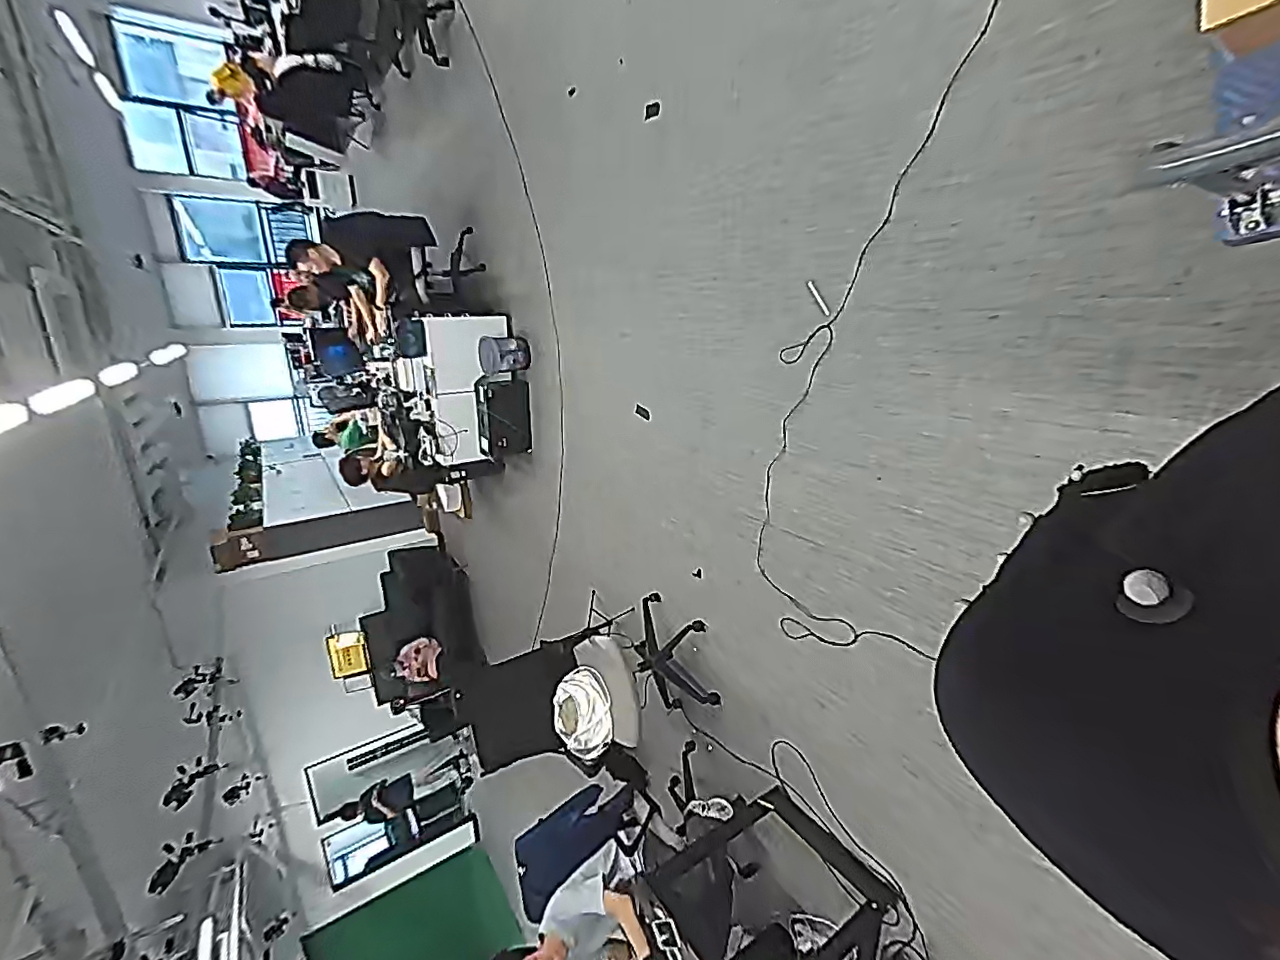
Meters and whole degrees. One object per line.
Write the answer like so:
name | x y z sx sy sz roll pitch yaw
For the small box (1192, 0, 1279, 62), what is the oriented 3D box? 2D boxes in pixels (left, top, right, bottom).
small box | 0.905 -0.721 0.742 0.179 0.176 0.168 8 106 54
